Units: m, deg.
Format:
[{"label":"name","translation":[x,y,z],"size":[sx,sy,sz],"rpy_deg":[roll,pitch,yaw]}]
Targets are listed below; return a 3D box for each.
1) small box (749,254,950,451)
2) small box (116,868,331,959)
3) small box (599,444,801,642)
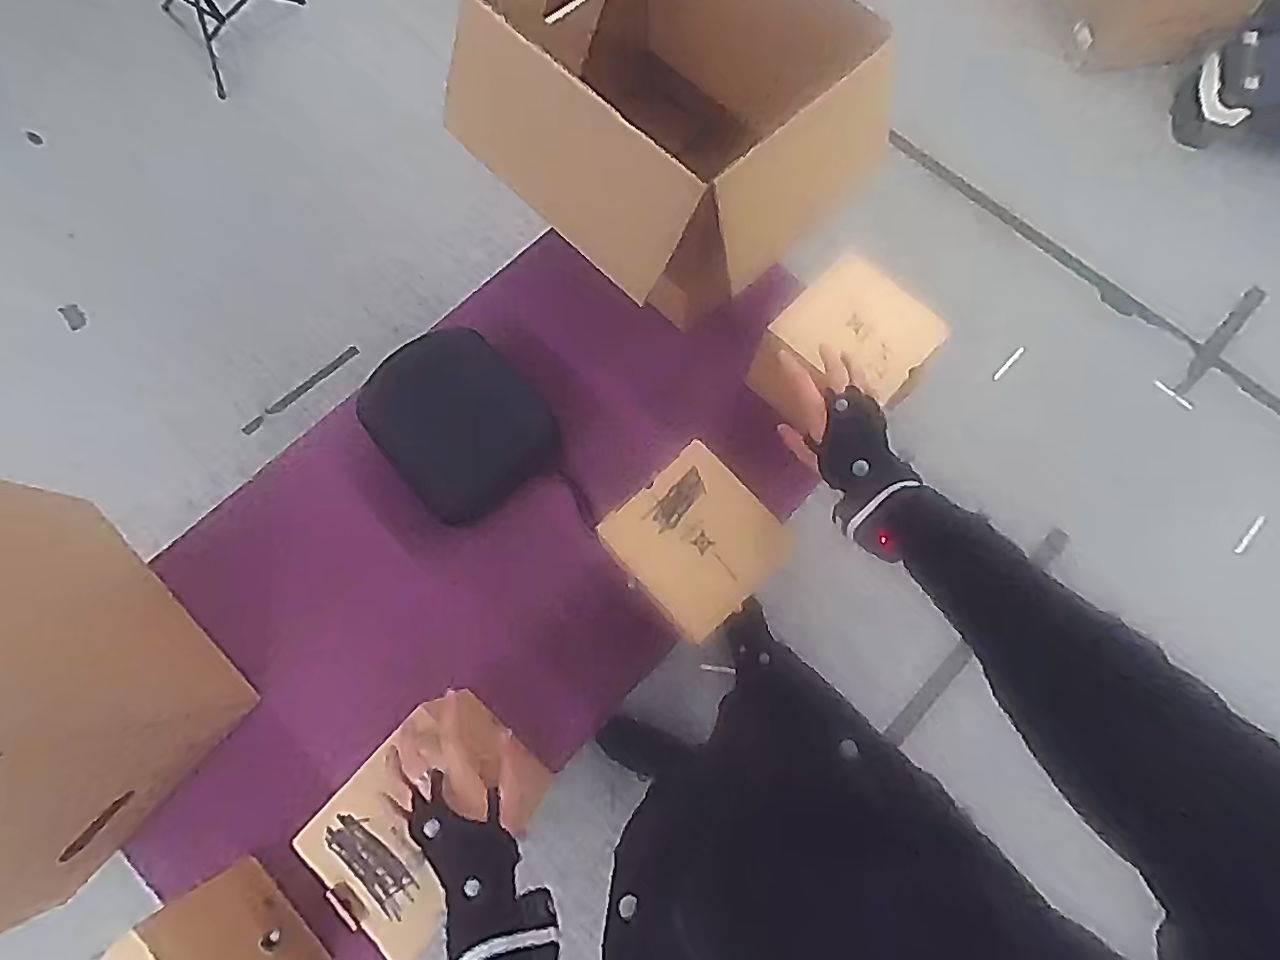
[{"label":"small box","translation":[0.276,-0.167,0.761],"size":[0.179,0.176,0.168],"rpy_deg":[44,80,11]},{"label":"small box","translation":[-0.476,0.569,0.567],"size":[0.168,0.176,0.179],"rpy_deg":[42,78,10]},{"label":"small box","translation":[0.068,0.088,0.694],"size":[0.168,0.176,0.179],"rpy_deg":[-42,79,-9]}]
